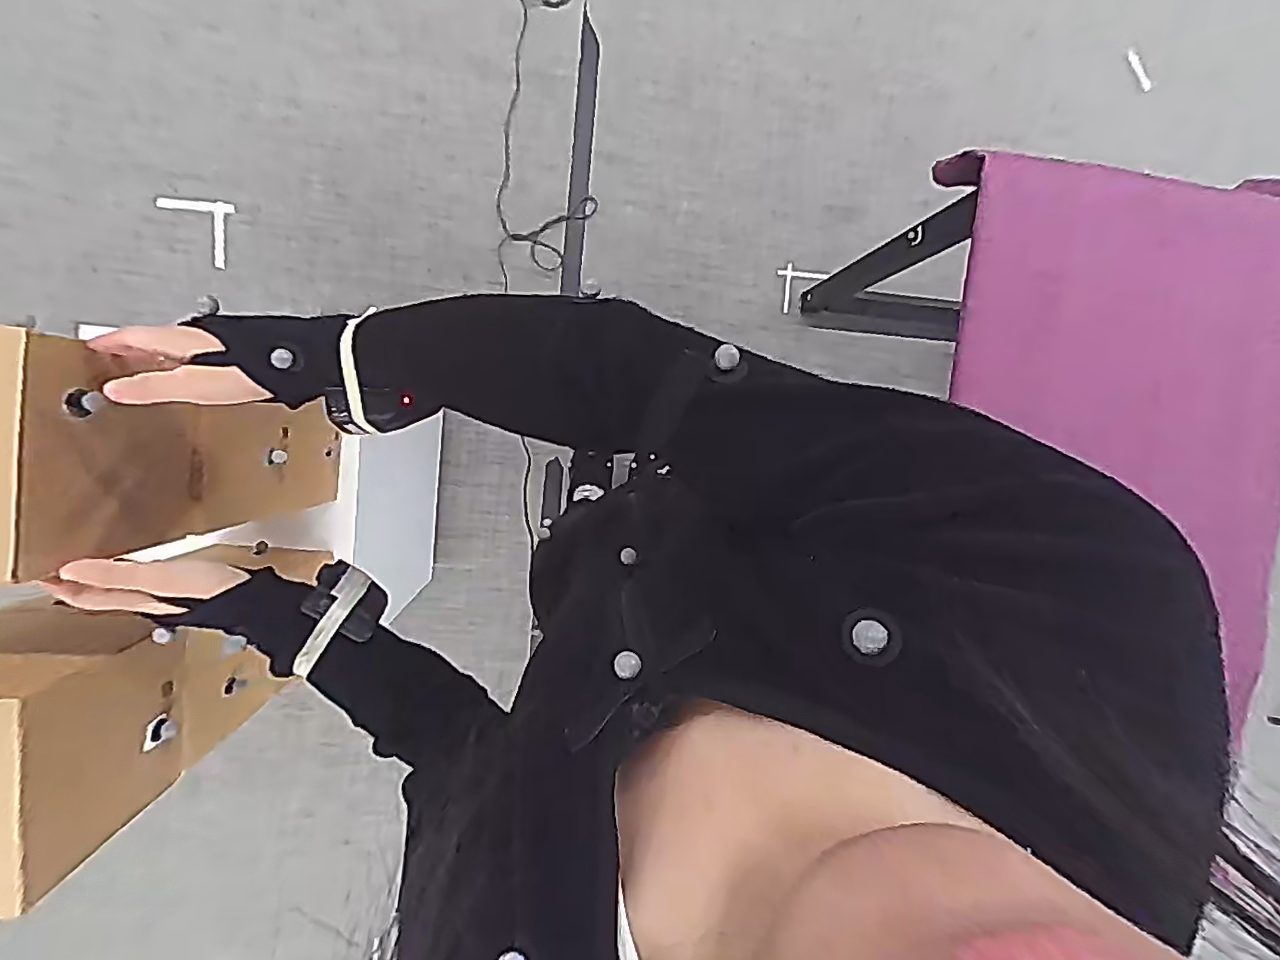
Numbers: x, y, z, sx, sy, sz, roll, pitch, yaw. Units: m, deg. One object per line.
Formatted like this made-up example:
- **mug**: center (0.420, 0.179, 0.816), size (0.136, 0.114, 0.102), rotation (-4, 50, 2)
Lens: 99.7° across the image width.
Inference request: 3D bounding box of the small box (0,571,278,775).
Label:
- **small box**: center (-0.541, 0.204, 0.608), size (0.179, 0.176, 0.168), rotation (4, 94, -7)

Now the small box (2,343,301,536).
- **small box**: center (-0.509, -0.042, 0.590), size (0.179, 0.176, 0.168), rotation (7, 94, -9)

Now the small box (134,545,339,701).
- **small box**: center (-0.562, 0.191, 0.768), size (0.179, 0.176, 0.168), rotation (5, 95, -6)

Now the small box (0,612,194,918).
- **small box**: center (-0.523, 0.216, 0.447), size (0.179, 0.176, 0.168), rotation (3, 95, -8)
